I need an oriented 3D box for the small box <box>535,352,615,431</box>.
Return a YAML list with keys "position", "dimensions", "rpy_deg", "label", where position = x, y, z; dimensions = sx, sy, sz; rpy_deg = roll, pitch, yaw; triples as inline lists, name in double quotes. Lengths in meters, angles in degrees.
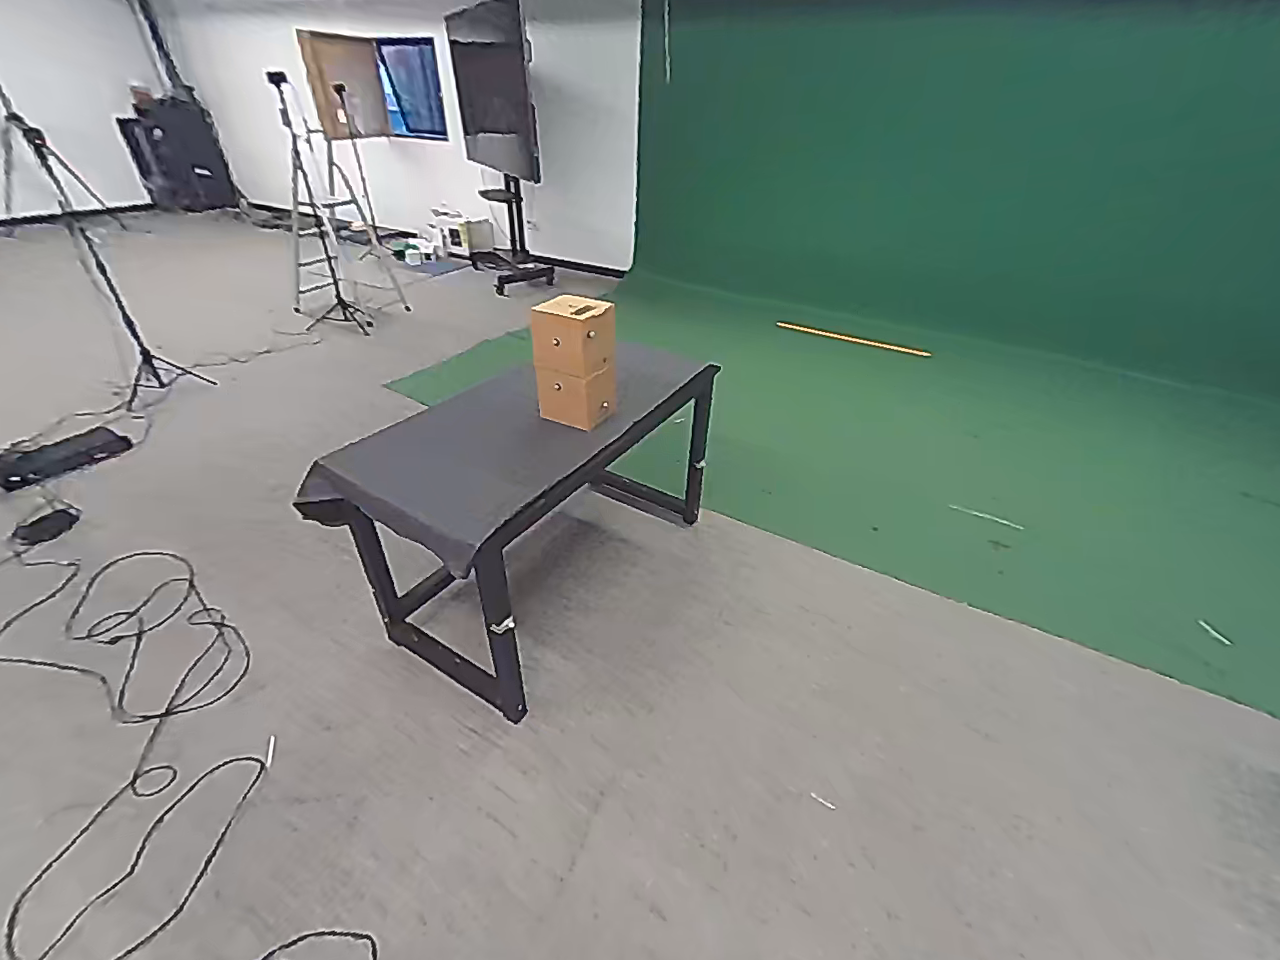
- position: [-0.190, -0.265, 1.621]
  dimensions: [0.179, 0.176, 0.168]
  rpy_deg: [17, 38, 22]
  label: "small box"
